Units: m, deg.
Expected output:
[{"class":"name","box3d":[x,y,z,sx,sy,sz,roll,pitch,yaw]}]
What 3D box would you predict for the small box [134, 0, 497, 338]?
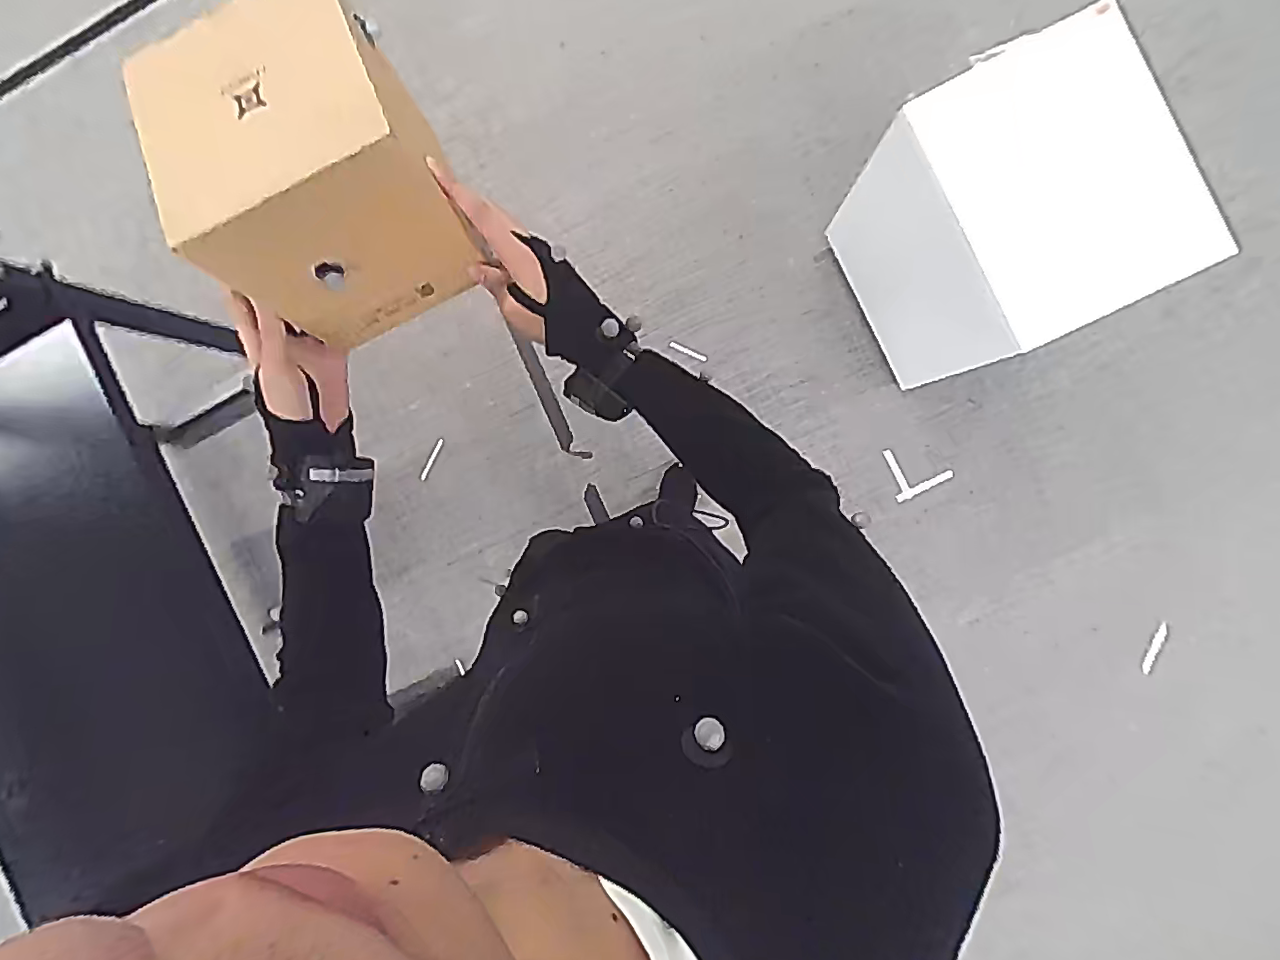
[{"class":"small box","box3d":[-0.242,-0.240,0.440,0.168,0.176,0.179,-26,76,3]}]
